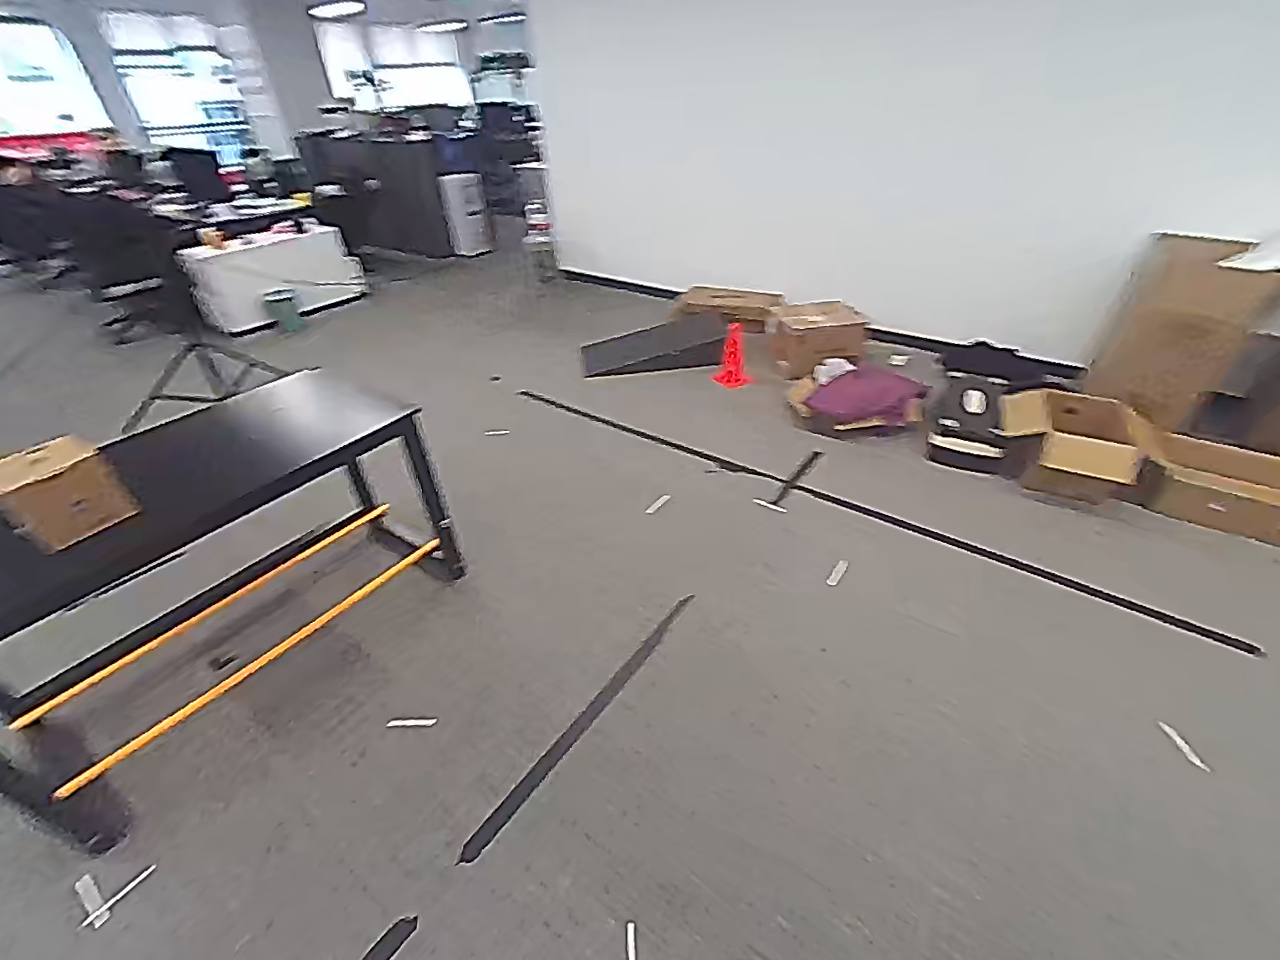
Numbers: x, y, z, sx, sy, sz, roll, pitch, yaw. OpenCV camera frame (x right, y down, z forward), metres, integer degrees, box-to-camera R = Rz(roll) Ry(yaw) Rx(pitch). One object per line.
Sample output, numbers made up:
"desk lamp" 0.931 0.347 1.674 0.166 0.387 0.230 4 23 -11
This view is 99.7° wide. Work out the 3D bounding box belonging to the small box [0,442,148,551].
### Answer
"small box" -1.311 0.041 1.257 0.179 0.176 0.168 18 41 26
